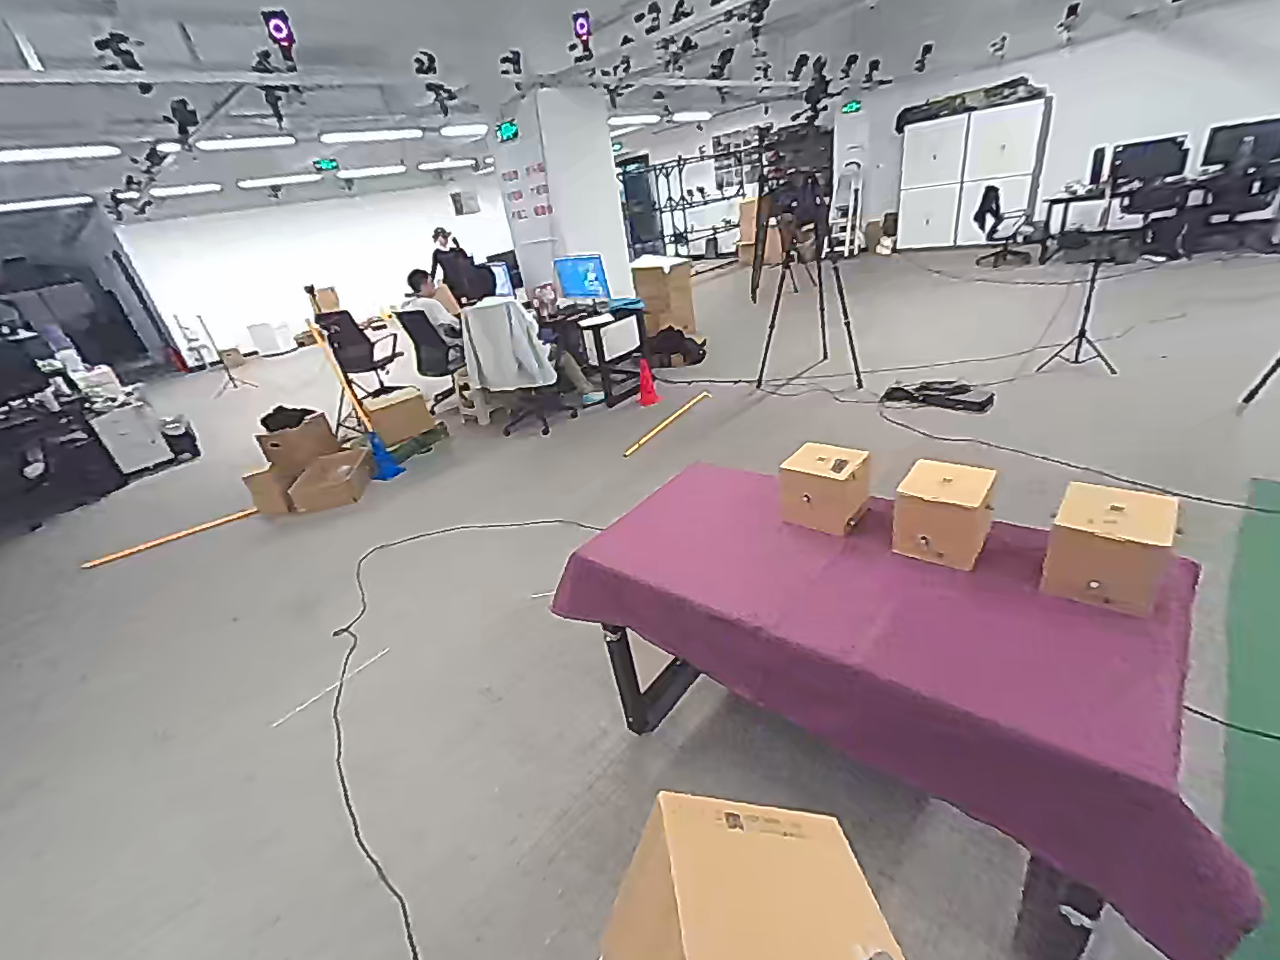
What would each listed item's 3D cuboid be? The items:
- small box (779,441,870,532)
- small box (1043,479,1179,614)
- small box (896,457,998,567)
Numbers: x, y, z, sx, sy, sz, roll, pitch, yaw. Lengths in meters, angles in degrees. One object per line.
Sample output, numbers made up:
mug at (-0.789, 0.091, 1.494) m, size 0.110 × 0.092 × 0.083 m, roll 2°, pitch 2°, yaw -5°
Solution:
small box at (0.487, 0.017, 1.423) m, size 0.179 × 0.176 × 0.168 m, roll 14°, pitch 37°, yaw 41°
small box at (0.910, 0.124, 1.053) m, size 0.168 × 0.176 × 0.179 m, roll 15°, pitch 40°, yaw 42°
small box at (0.701, 0.071, 1.246) m, size 0.168 × 0.176 × 0.179 m, roll 14°, pitch 37°, yaw 40°
